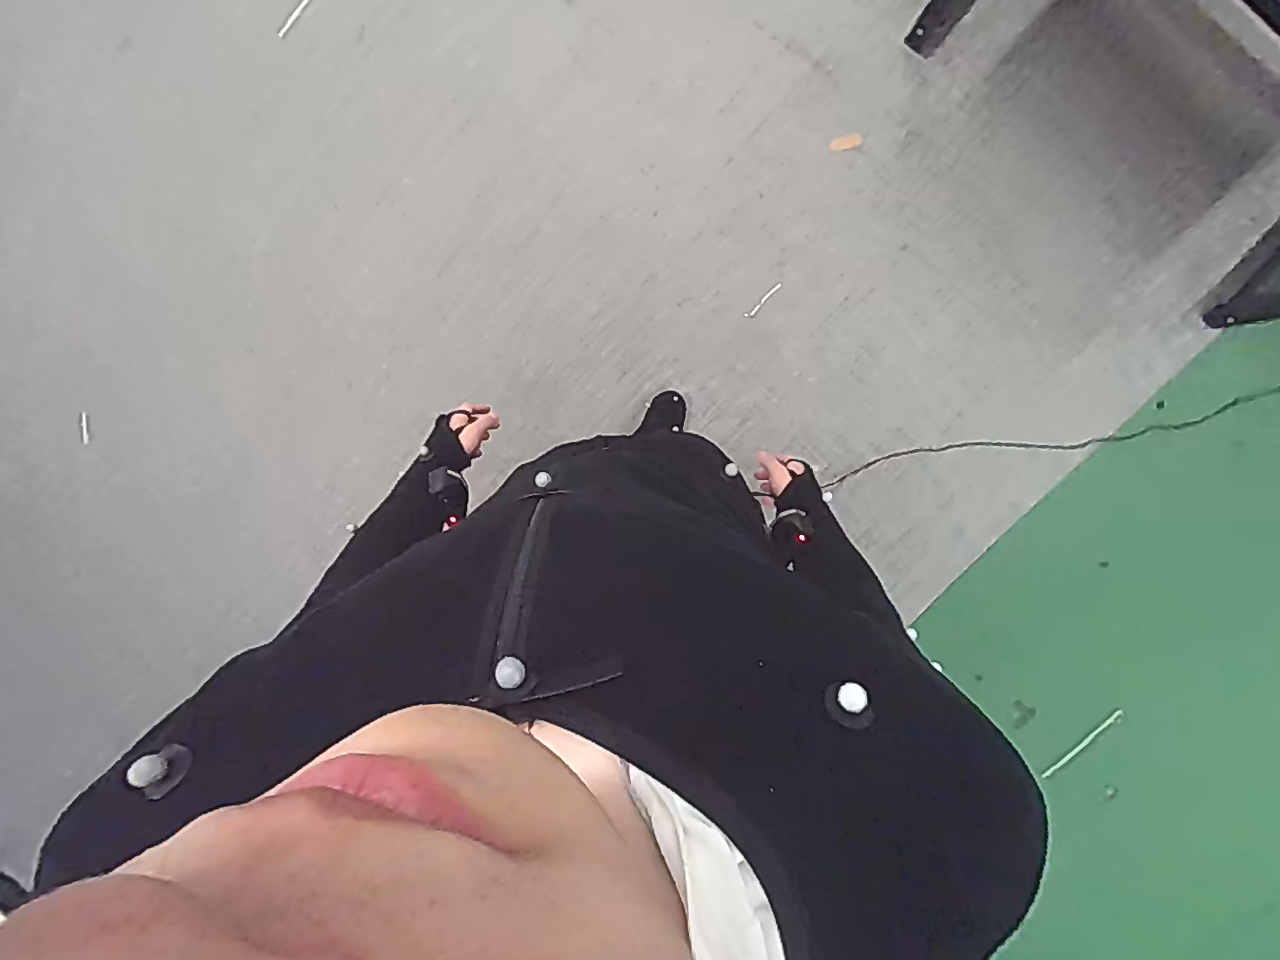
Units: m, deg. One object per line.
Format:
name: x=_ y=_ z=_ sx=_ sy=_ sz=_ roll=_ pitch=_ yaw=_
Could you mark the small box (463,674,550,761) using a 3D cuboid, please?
small box: x=-0.400 y=0.735 z=1.656 sx=0.168 sy=0.176 sz=0.179 roll=-42 pitch=92 yaw=7
